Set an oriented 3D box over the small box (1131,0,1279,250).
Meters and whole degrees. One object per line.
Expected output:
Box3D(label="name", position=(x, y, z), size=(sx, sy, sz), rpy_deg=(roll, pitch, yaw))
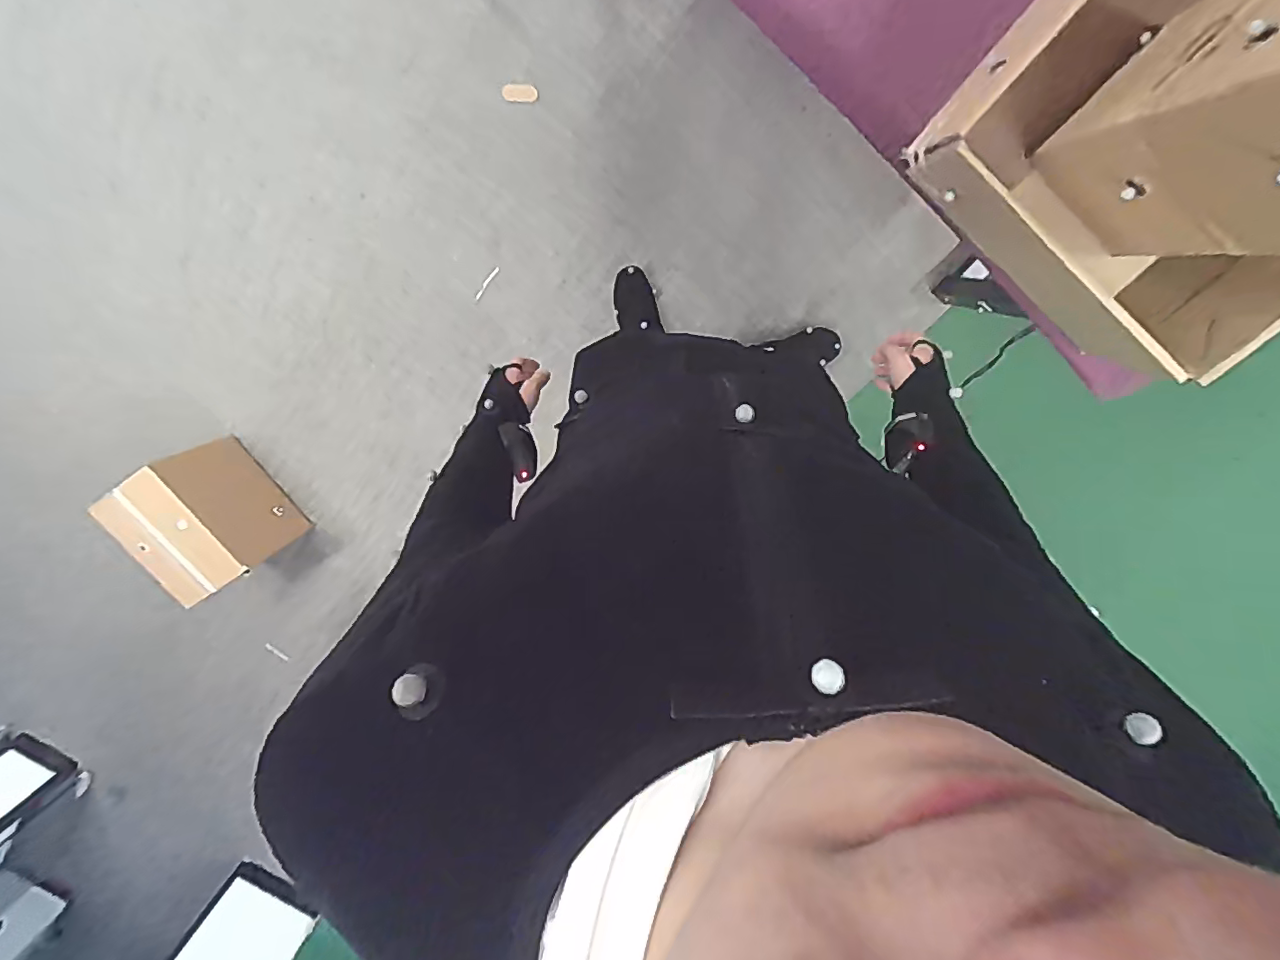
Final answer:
Box3D(label="small box", position=(0.551, -0.297, 0.416), size=(0.179, 0.176, 0.168), rpy_deg=(42, 111, -9))
